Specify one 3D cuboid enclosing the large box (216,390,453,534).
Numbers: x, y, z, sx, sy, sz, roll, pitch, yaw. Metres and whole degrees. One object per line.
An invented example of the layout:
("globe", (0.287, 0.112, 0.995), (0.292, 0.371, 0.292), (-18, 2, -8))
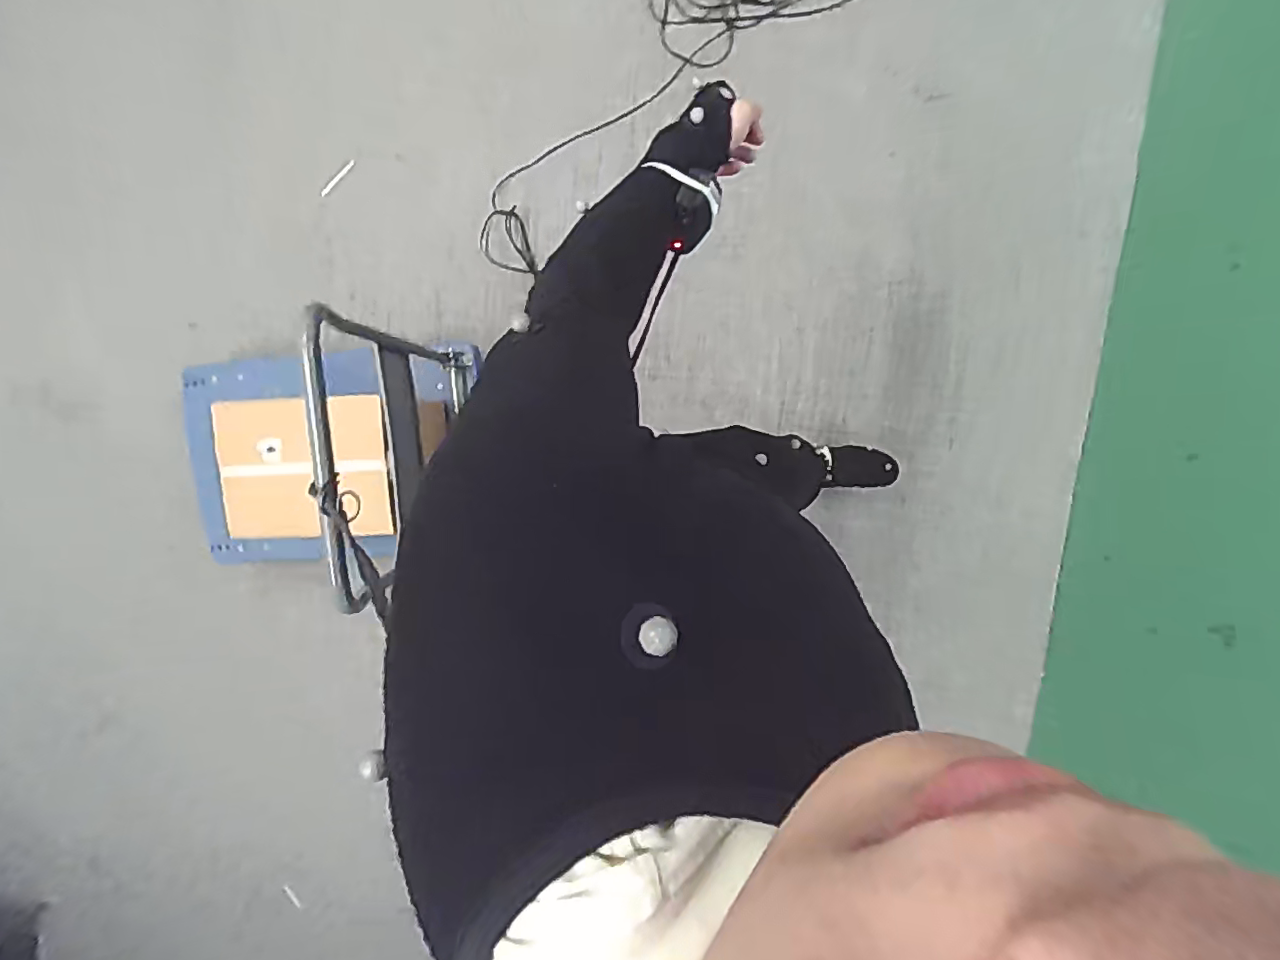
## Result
("large box", (-0.732, -0.052, 1.354), (0.408, 0.320, 0.320), (-2, 95, 6))
